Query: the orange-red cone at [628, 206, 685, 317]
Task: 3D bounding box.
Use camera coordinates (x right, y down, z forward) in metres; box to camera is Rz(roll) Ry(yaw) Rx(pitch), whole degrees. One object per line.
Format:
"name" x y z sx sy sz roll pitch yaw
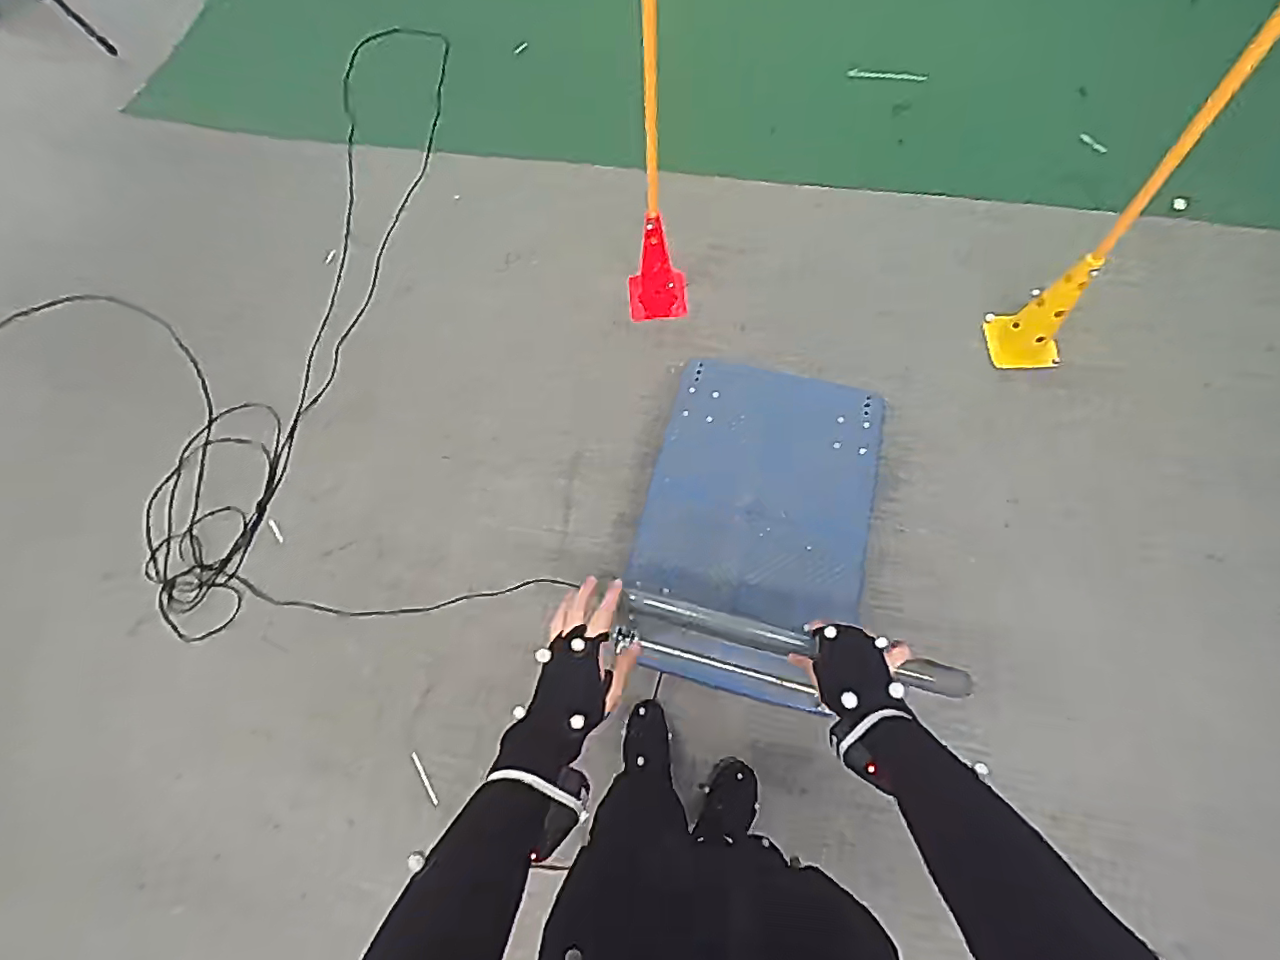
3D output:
"orange-red cone" 0.041 -0.720 1.735 0.199 0.360 0.198 -5 68 4
